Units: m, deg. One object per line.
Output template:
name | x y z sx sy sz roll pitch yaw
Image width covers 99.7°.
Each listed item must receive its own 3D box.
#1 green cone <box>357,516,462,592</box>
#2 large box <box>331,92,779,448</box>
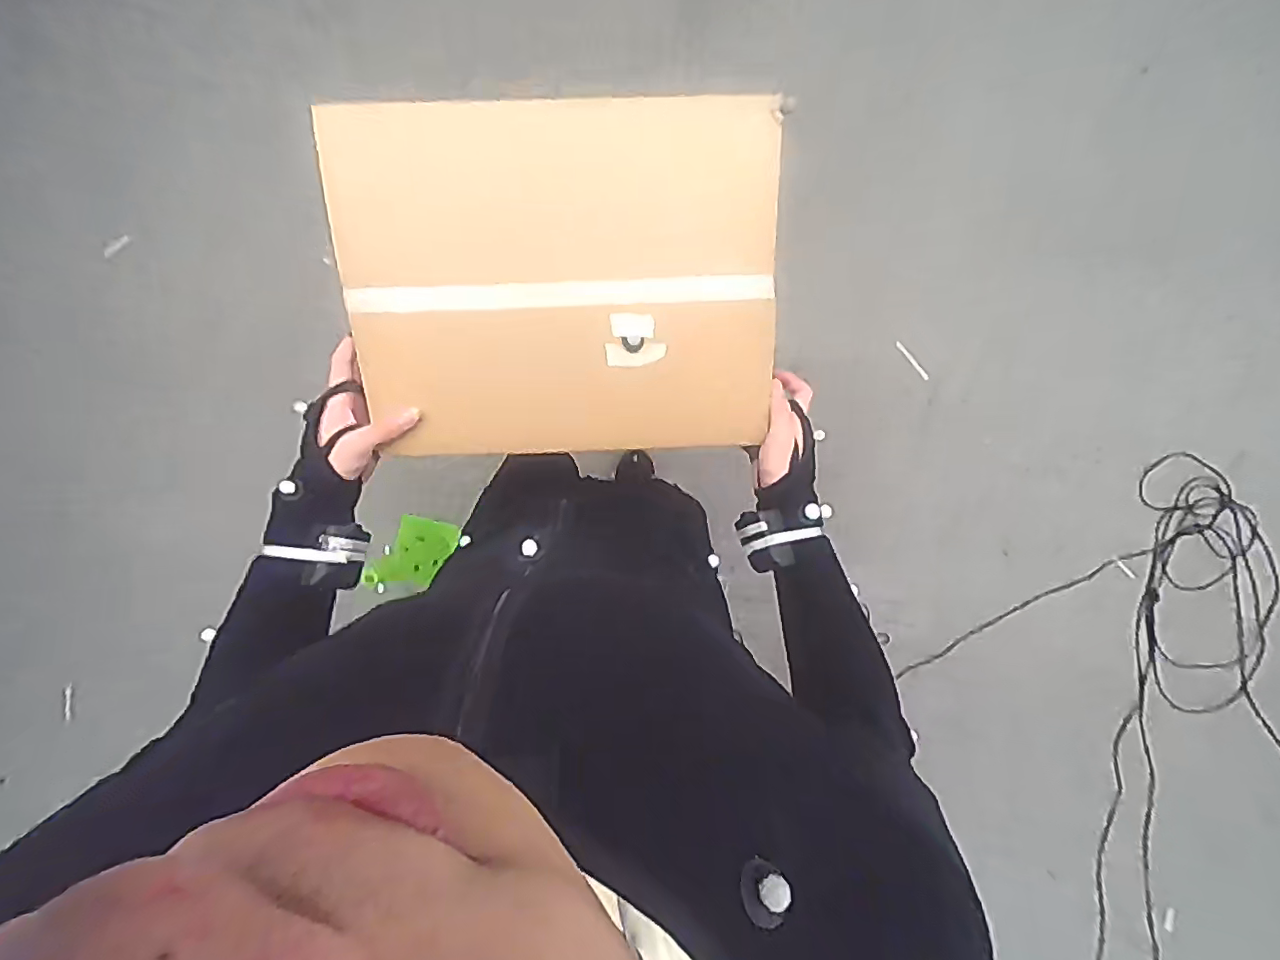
green cone | -0.654 0.230 1.464 0.200 0.368 0.202 12 94 0
large box | -0.075 -0.234 0.662 0.408 0.320 0.320 -2 109 -2
